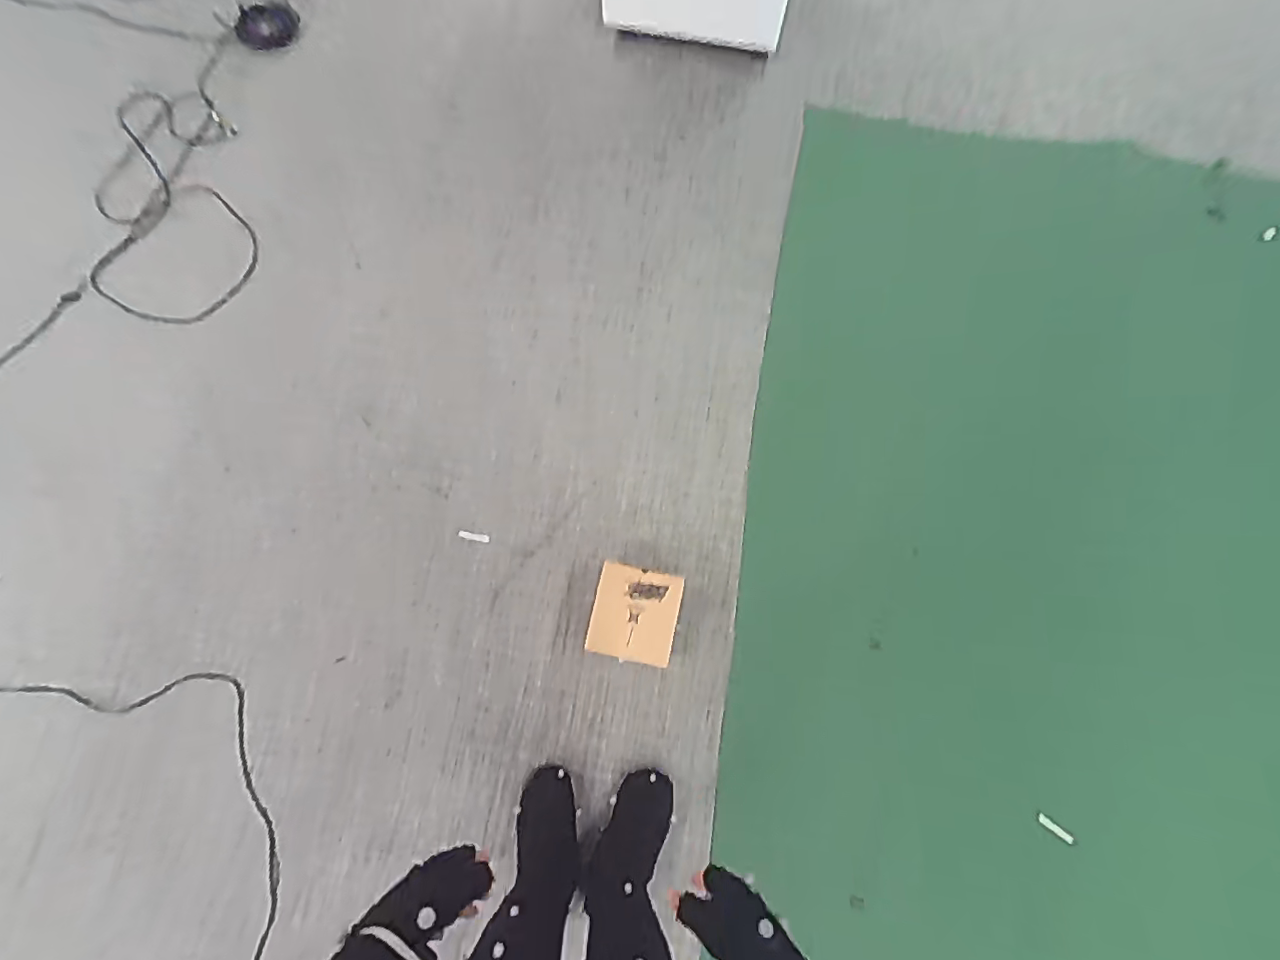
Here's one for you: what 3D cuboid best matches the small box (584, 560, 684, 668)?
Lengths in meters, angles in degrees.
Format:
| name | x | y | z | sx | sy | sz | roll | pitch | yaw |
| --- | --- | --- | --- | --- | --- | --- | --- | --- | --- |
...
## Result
| name | x | y | z | sx | sy | sz | roll | pitch | yaw |
| --- | --- | --- | --- | --- | --- | --- | --- | --- | --- |
| small box | -0.012 | 0.277 | 1.124 | 0.168 | 0.176 | 0.179 | 13 | 76 | 3 |
